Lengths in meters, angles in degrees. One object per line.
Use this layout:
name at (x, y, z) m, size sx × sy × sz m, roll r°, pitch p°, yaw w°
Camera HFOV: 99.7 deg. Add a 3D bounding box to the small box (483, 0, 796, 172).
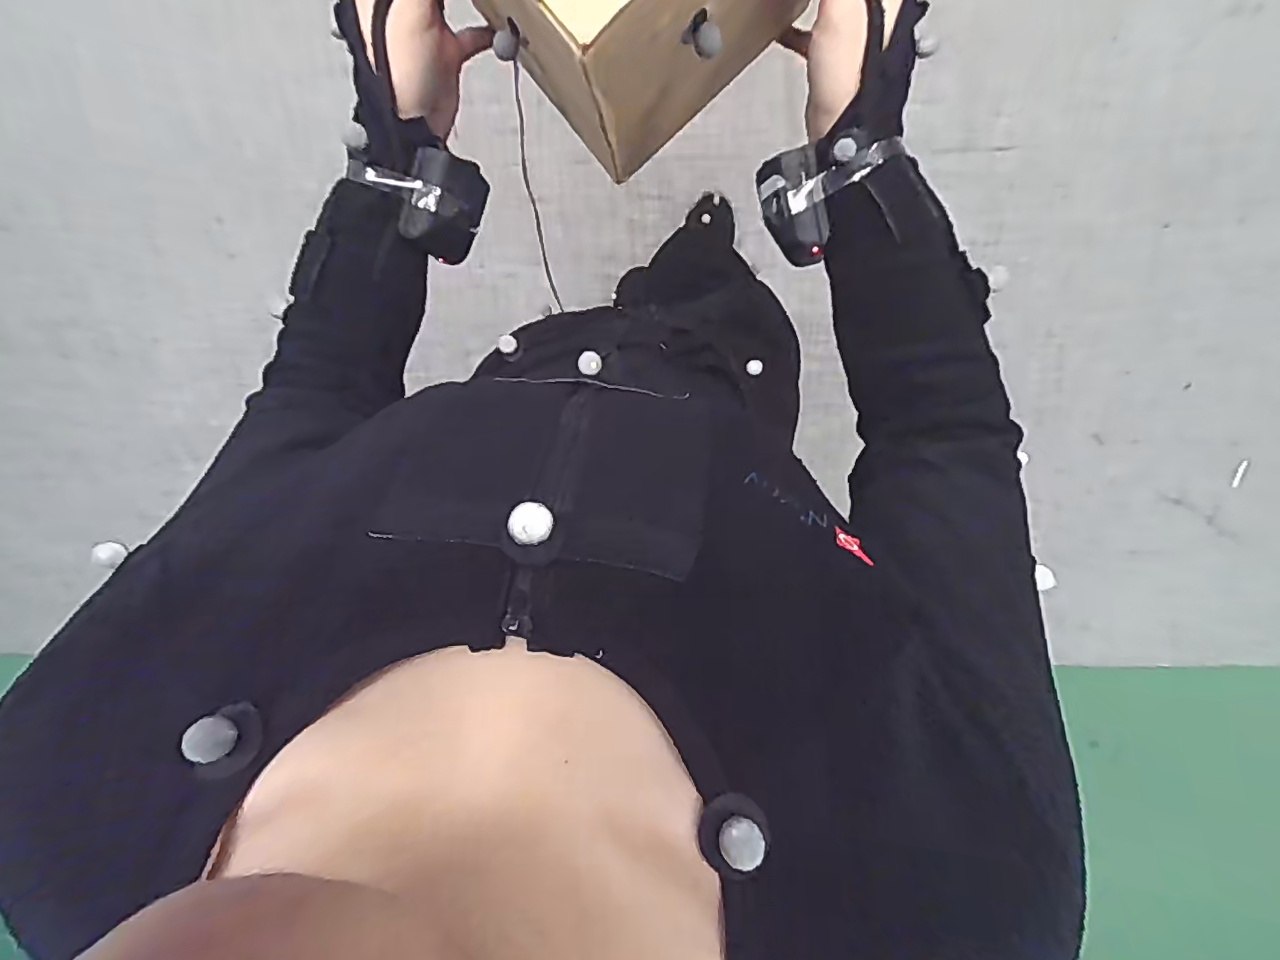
small box at (-0.006, -0.324, 0.311) m, size 0.179 × 0.176 × 0.168 m, roll -40°, pitch 95°, yaw 10°
